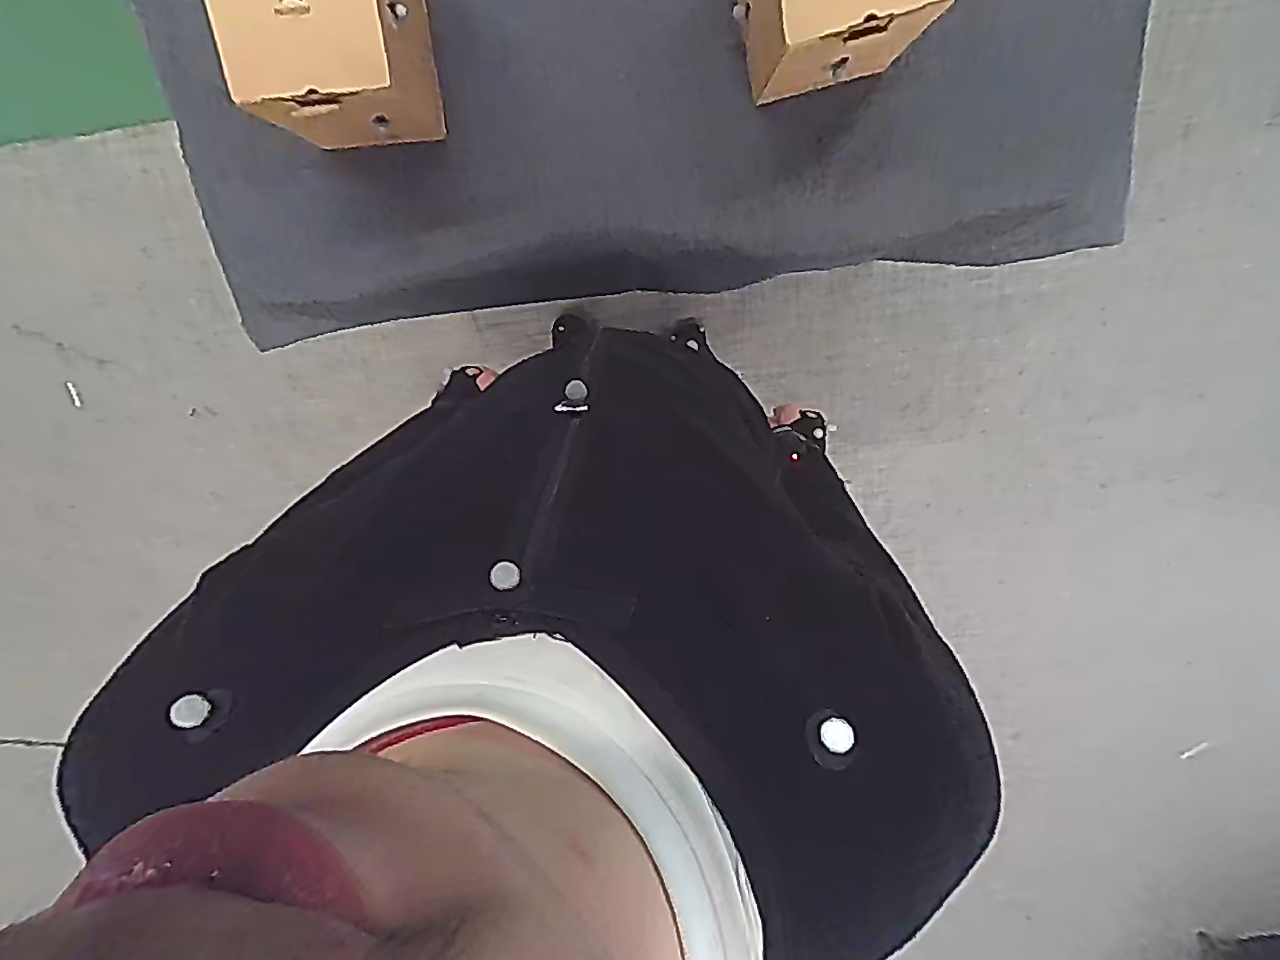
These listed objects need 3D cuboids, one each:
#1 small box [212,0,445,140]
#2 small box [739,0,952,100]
[{"bbox_3d":[-0.330,-0.493,0.594,0.168,0.176,0.179,-4,106,0],"label":"small box"},{"bbox_3d":[0.205,-0.539,0.578,0.168,0.176,0.179,-13,108,4],"label":"small box"}]
